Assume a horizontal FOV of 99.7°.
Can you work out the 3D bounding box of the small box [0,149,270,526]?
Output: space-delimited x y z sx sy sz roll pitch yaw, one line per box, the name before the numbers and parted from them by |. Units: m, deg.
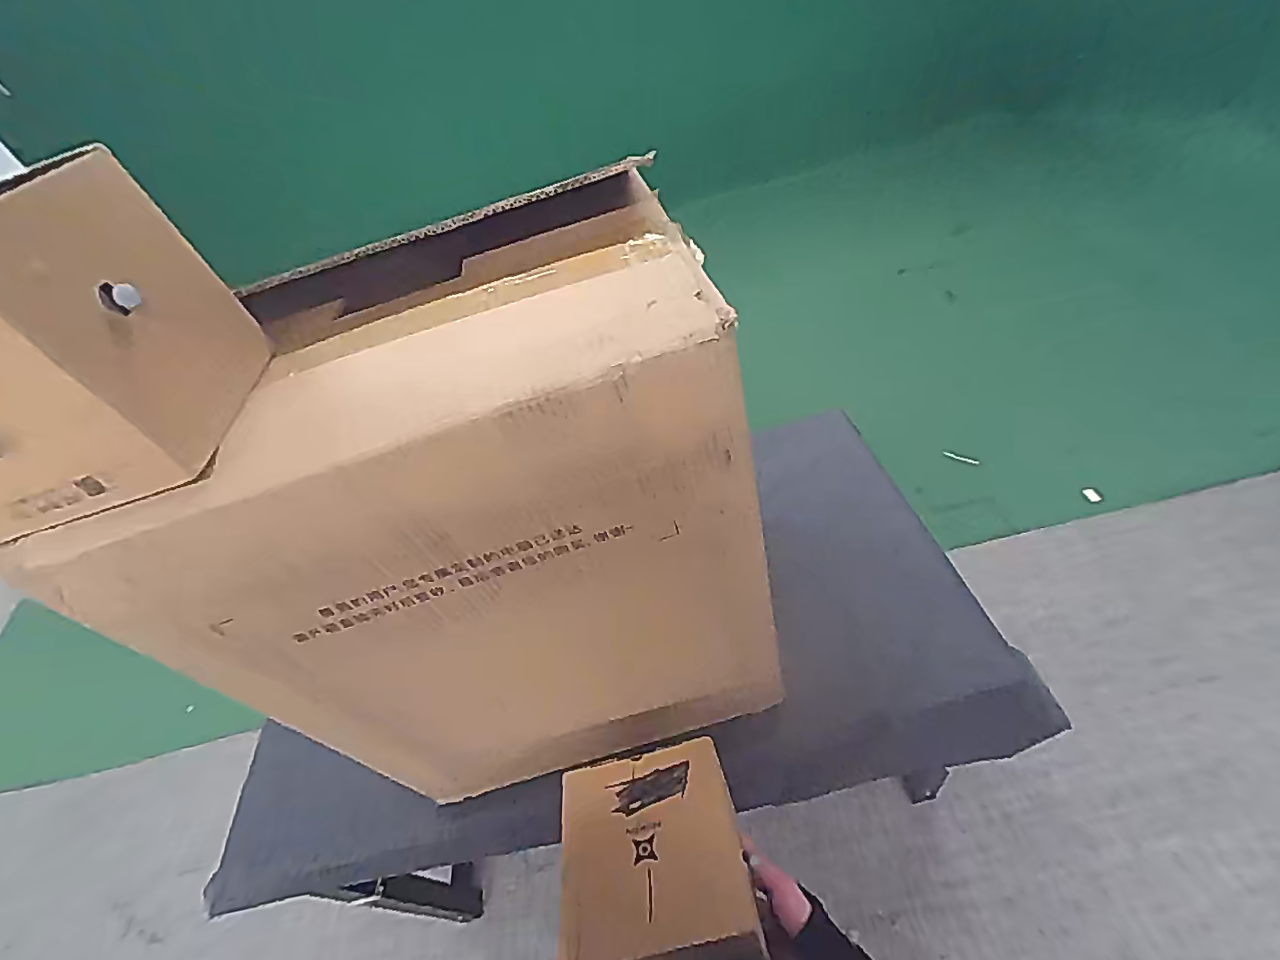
small box | -0.401 -0.088 0.370 0.168 0.176 0.179 -17 45 3
